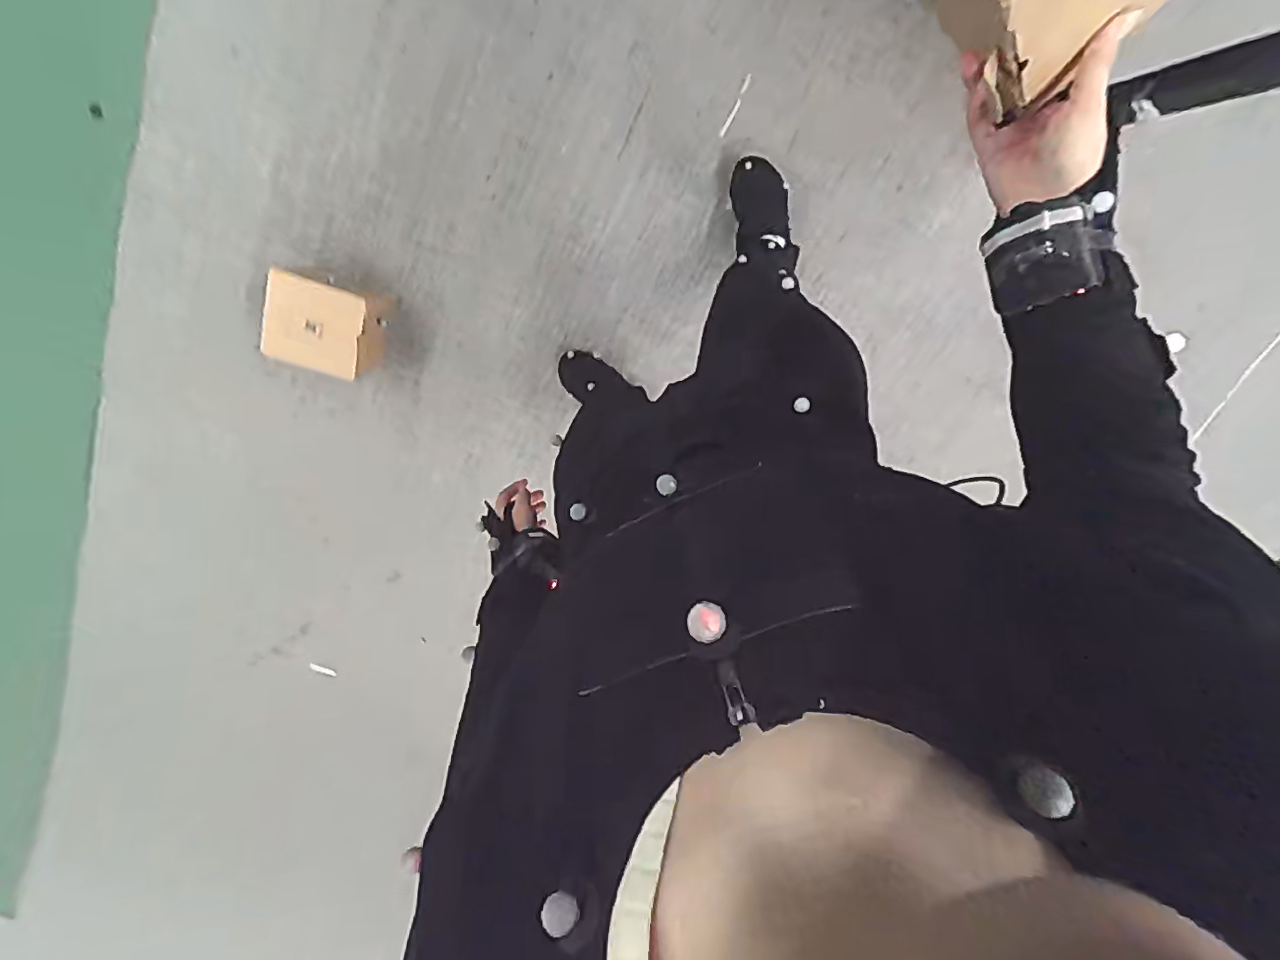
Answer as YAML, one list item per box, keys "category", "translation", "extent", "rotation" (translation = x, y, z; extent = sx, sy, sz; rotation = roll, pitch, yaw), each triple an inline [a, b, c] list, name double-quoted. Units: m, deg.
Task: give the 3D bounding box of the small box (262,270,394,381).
- category: "small box"
  translation: [-0.622, -0.319, 1.097]
  extent: [0.179, 0.176, 0.168]
  rotation: [16, 109, -11]

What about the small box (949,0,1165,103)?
- category: "small box"
  translation: [0.244, -0.363, 0.283]
  extent: [0.179, 0.168, 0.176]
  rotation: [-37, 77, 37]
